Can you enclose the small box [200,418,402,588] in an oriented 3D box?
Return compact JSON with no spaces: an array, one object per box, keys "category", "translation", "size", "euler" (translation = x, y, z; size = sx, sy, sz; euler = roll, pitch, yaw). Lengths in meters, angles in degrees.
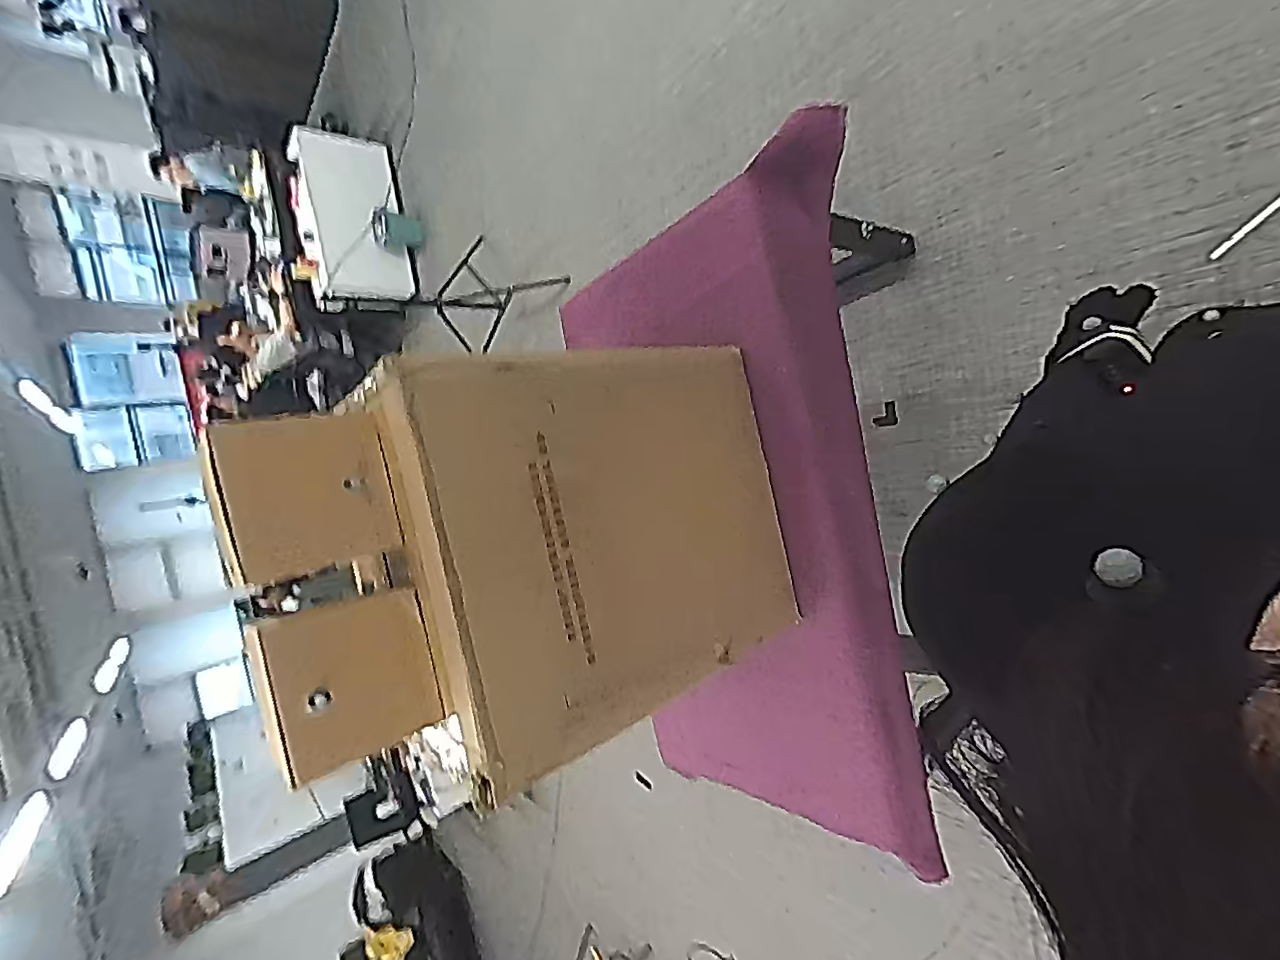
[{"category":"small box","translation":[-0.419,0.024,0.670],"size":[0.168,0.176,0.179],"euler":[-11,92,49]}]
